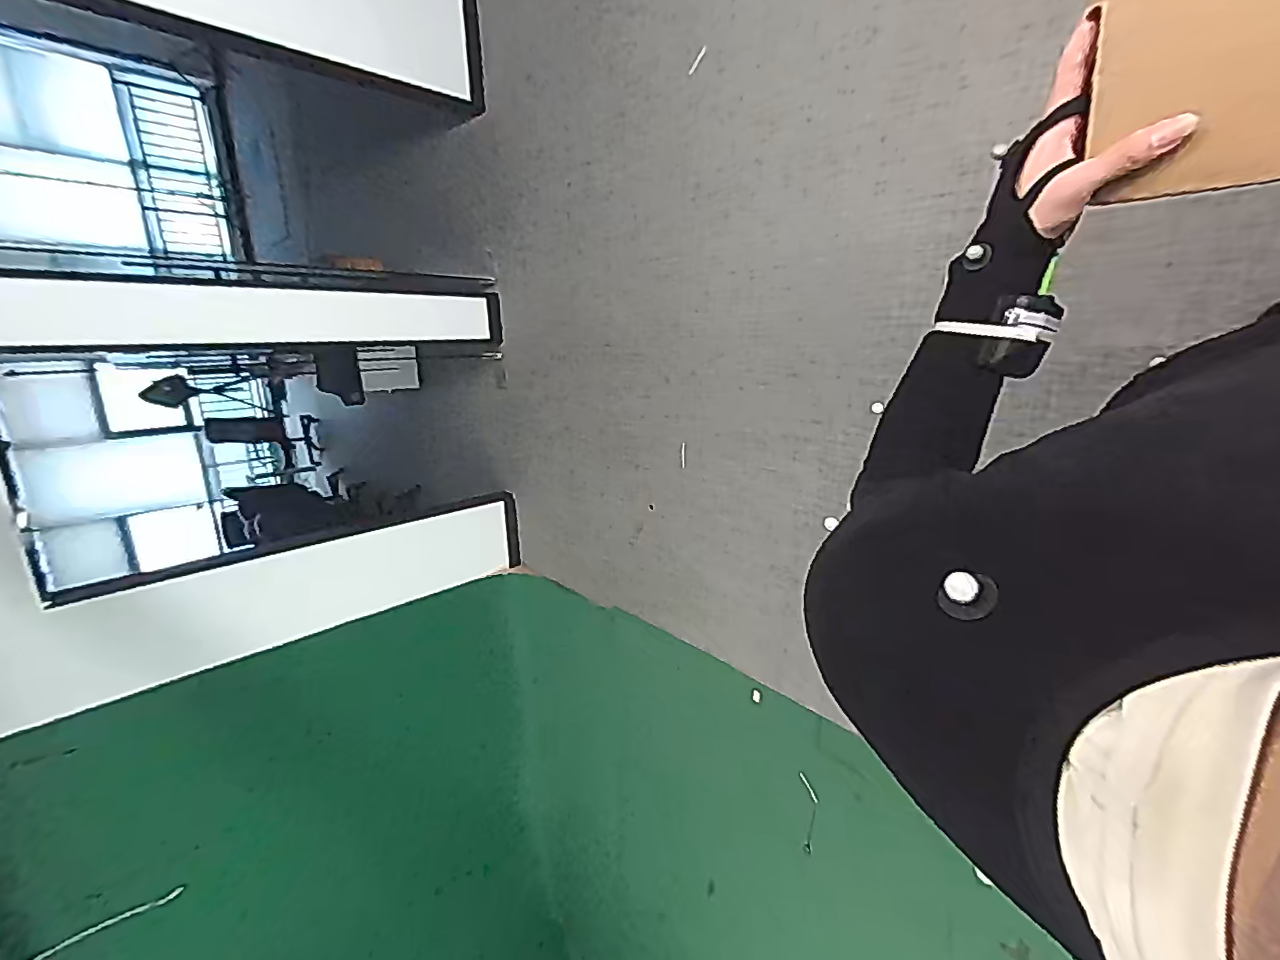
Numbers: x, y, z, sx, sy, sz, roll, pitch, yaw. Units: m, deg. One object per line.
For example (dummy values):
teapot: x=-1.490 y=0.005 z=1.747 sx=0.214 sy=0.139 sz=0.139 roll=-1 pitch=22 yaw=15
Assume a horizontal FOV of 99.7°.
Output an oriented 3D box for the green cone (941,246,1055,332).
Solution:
green cone: x=0.781 y=-0.449 z=1.255 sx=0.200 sy=0.368 sz=0.202 roll=22 pitch=118 yaw=43
